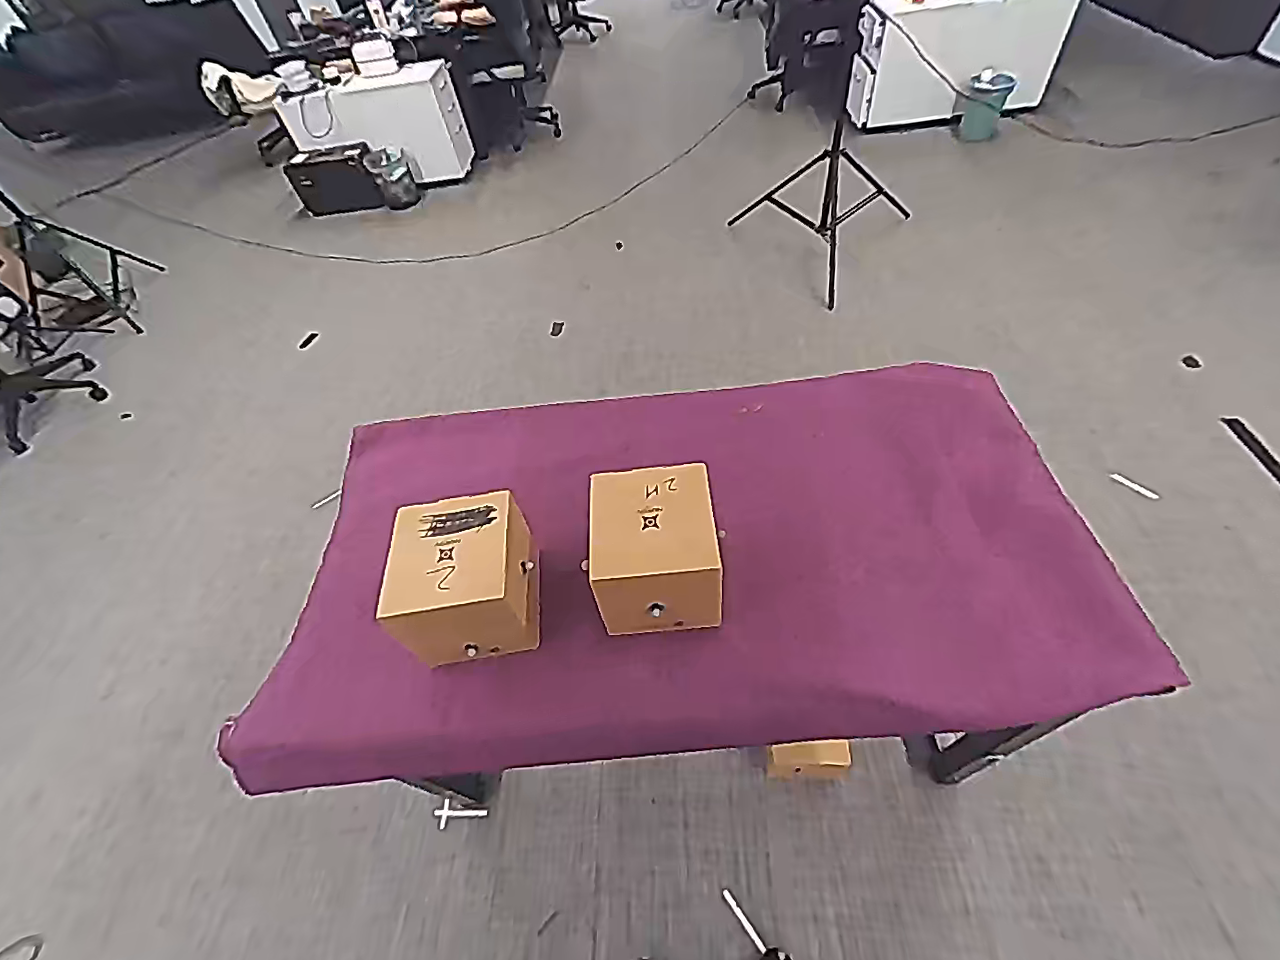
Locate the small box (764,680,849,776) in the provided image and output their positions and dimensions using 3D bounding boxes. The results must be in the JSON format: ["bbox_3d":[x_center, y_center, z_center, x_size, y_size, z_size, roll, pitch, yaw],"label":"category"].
[{"bbox_3d":[0.386,0.591,1.280,0.168,0.176,0.179,-2,51,8],"label":"small box"}]

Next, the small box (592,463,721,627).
[{"bbox_3d":[0.027,0.101,0.782,0.168,0.176,0.179,-5,50,3],"label":"small box"}]
